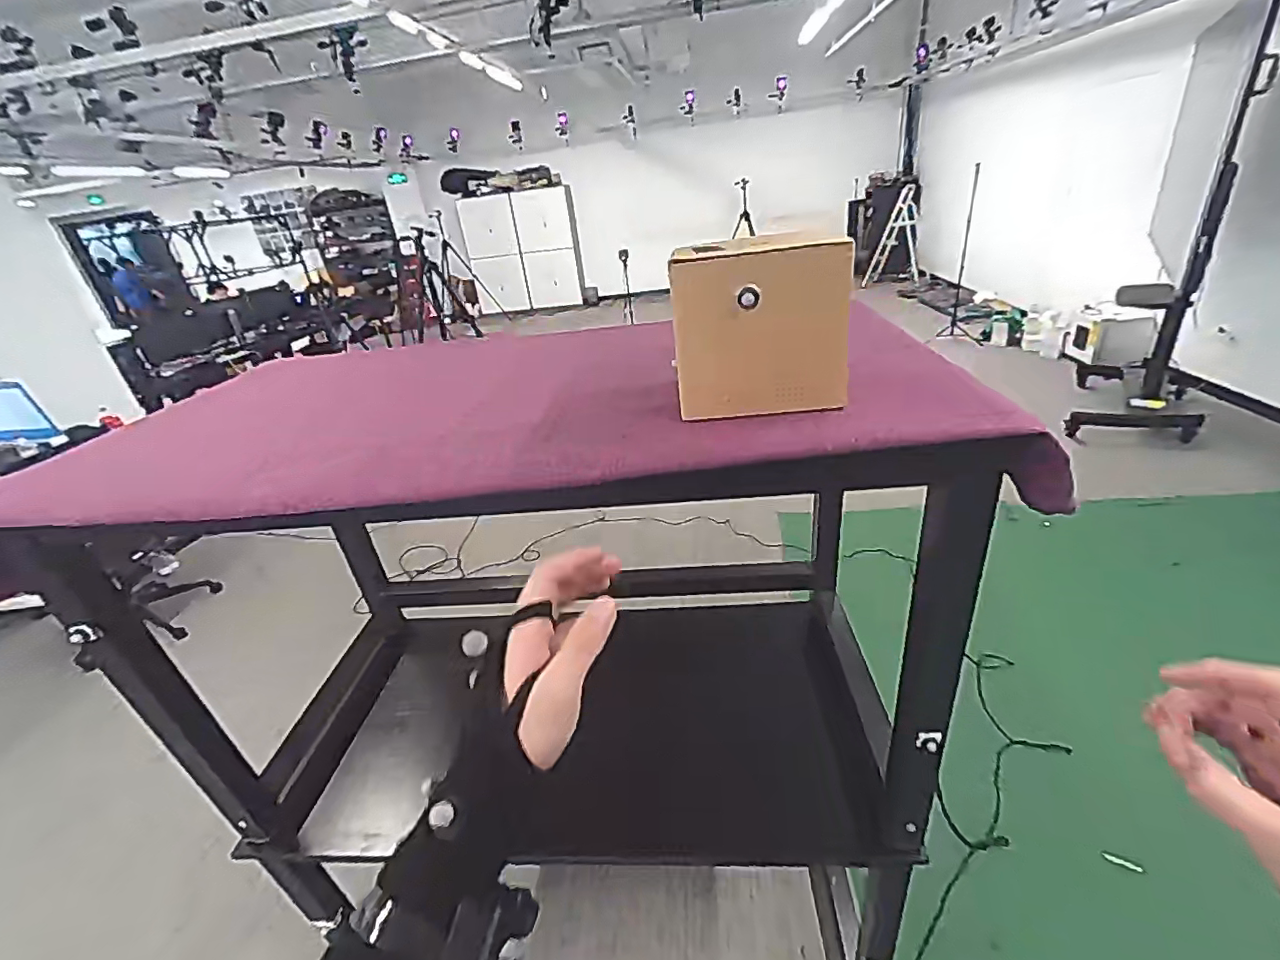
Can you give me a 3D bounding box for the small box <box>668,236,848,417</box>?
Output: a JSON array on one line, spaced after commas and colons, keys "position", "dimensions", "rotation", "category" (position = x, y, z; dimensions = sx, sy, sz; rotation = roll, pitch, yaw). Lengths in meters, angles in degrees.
[{"position": [0.131, -0.178, 0.628], "dimensions": [0.179, 0.176, 0.168], "rotation": [-4, 28, 7], "category": "small box"}]
